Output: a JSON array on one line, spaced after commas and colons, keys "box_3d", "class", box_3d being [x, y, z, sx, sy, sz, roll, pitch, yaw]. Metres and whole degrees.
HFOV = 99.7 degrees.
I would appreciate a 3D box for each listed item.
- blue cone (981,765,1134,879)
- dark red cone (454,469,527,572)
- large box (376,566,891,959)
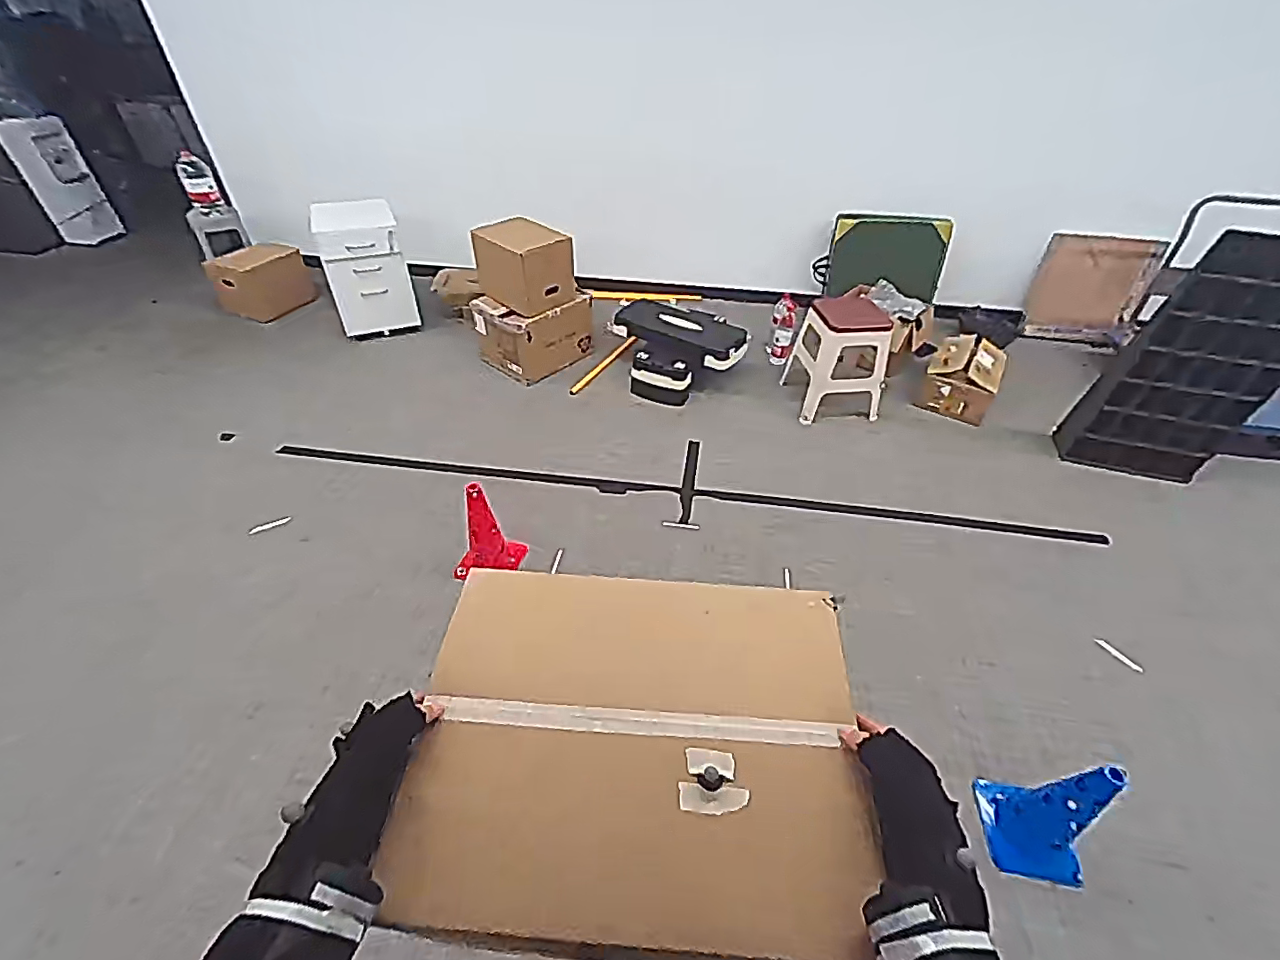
[{"box_3d": [0.952, 0.726, 1.208, 0.192, 0.380, 0.193, 10, 43, 7], "class": "blue cone"}, {"box_3d": [-0.506, 0.125, 1.759, 0.201, 0.394, 0.202, 12, 43, 9], "class": "dark red cone"}, {"box_3d": [-0.002, 0.323, 0.617, 0.408, 0.320, 0.320, 4, 47, 2], "class": "large box"}]
